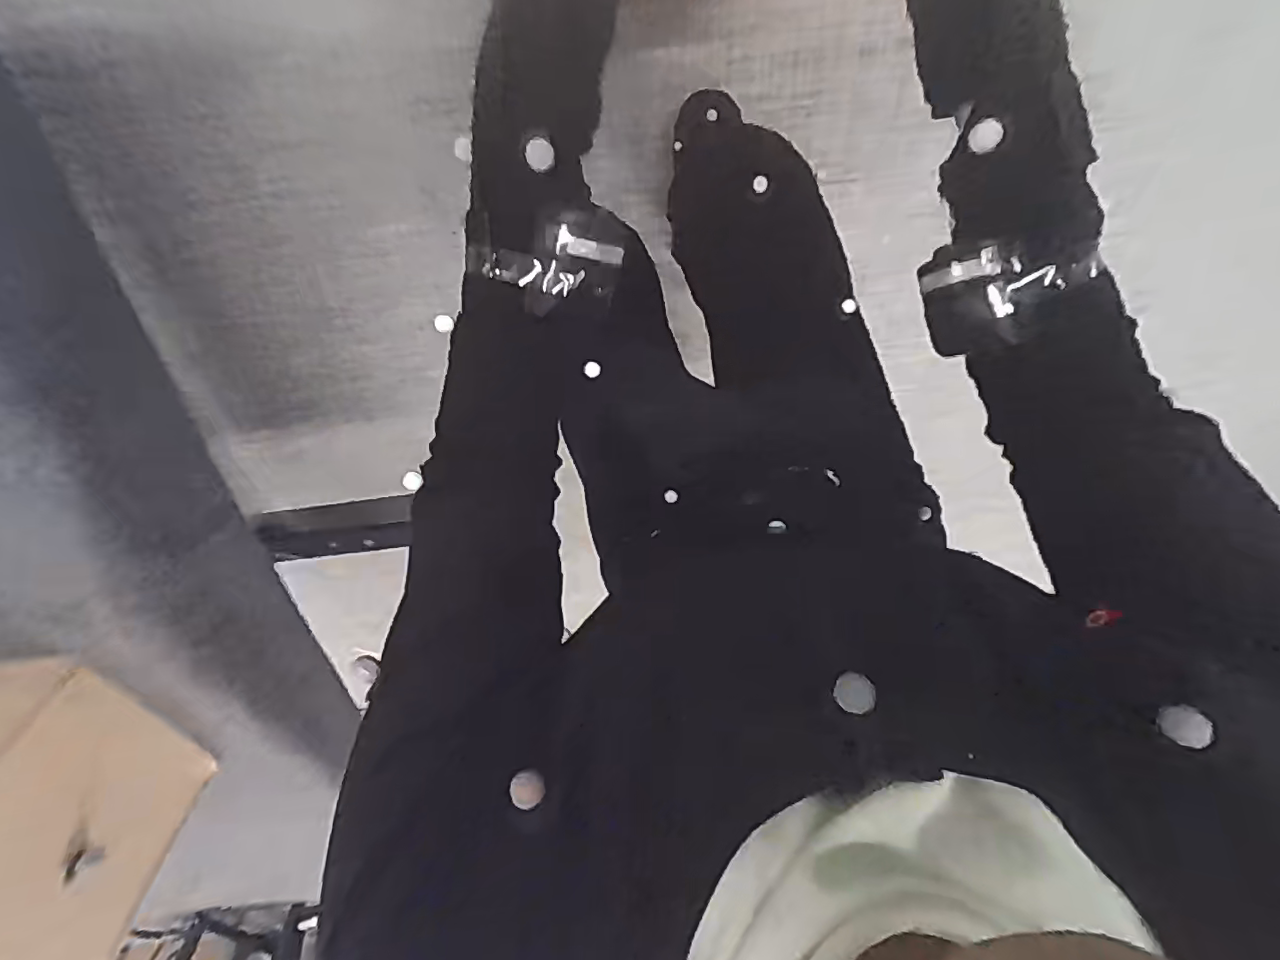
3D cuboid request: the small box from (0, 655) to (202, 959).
[{"bbox_3d":[-0.466,0.242,0.371,0.168,0.176,0.179,-5,130,2],"label":"small box"}]
